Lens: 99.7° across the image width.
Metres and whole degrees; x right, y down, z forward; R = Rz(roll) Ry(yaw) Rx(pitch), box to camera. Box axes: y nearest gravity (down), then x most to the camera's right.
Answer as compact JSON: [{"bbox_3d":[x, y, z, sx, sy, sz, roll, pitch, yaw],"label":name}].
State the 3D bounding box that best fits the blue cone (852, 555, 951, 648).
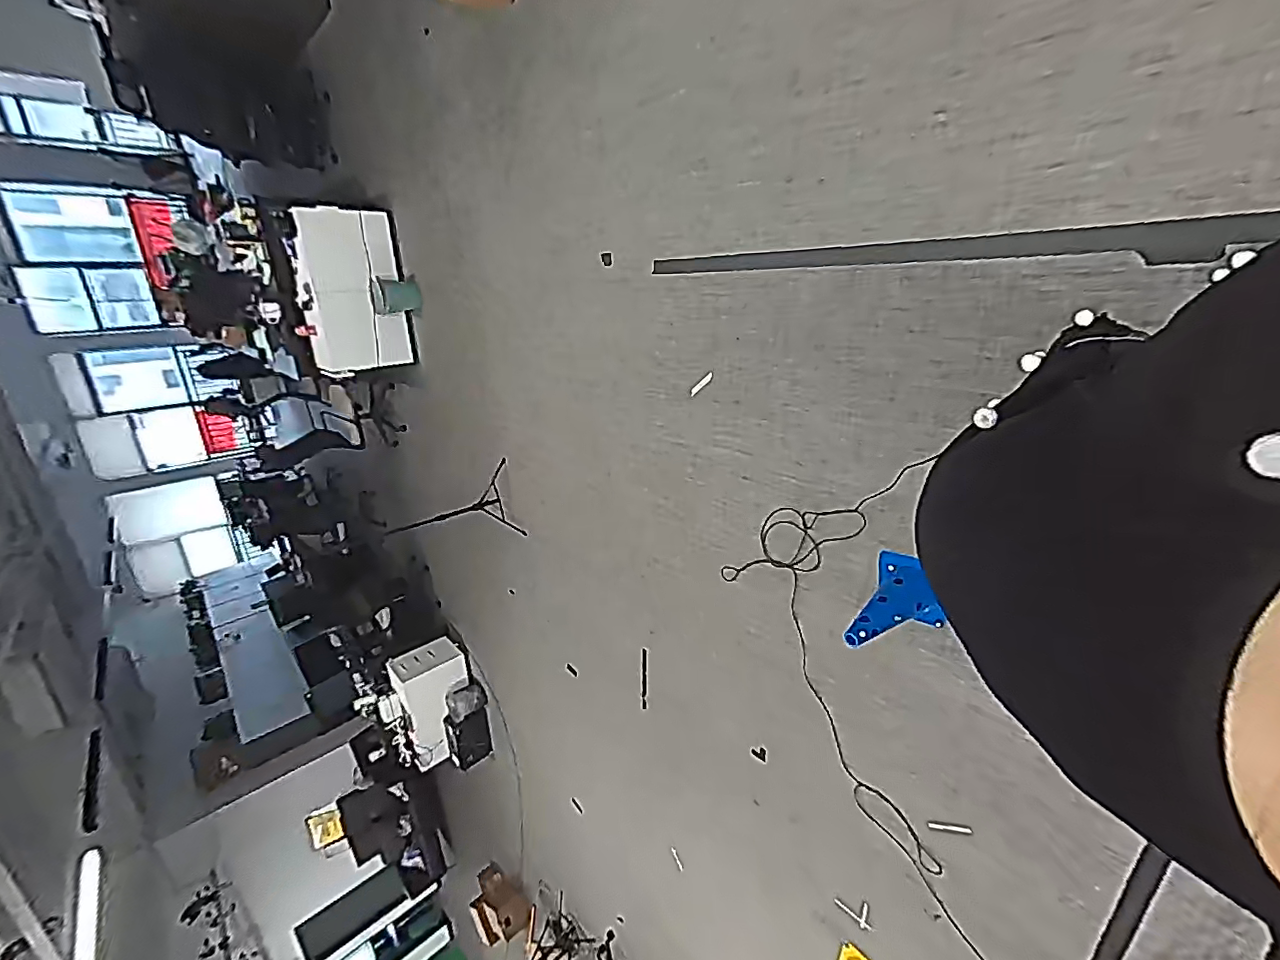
[{"bbox_3d":[0.680,0.359,1.480,0.192,0.380,0.193,14,115,47],"label":"blue cone"}]
